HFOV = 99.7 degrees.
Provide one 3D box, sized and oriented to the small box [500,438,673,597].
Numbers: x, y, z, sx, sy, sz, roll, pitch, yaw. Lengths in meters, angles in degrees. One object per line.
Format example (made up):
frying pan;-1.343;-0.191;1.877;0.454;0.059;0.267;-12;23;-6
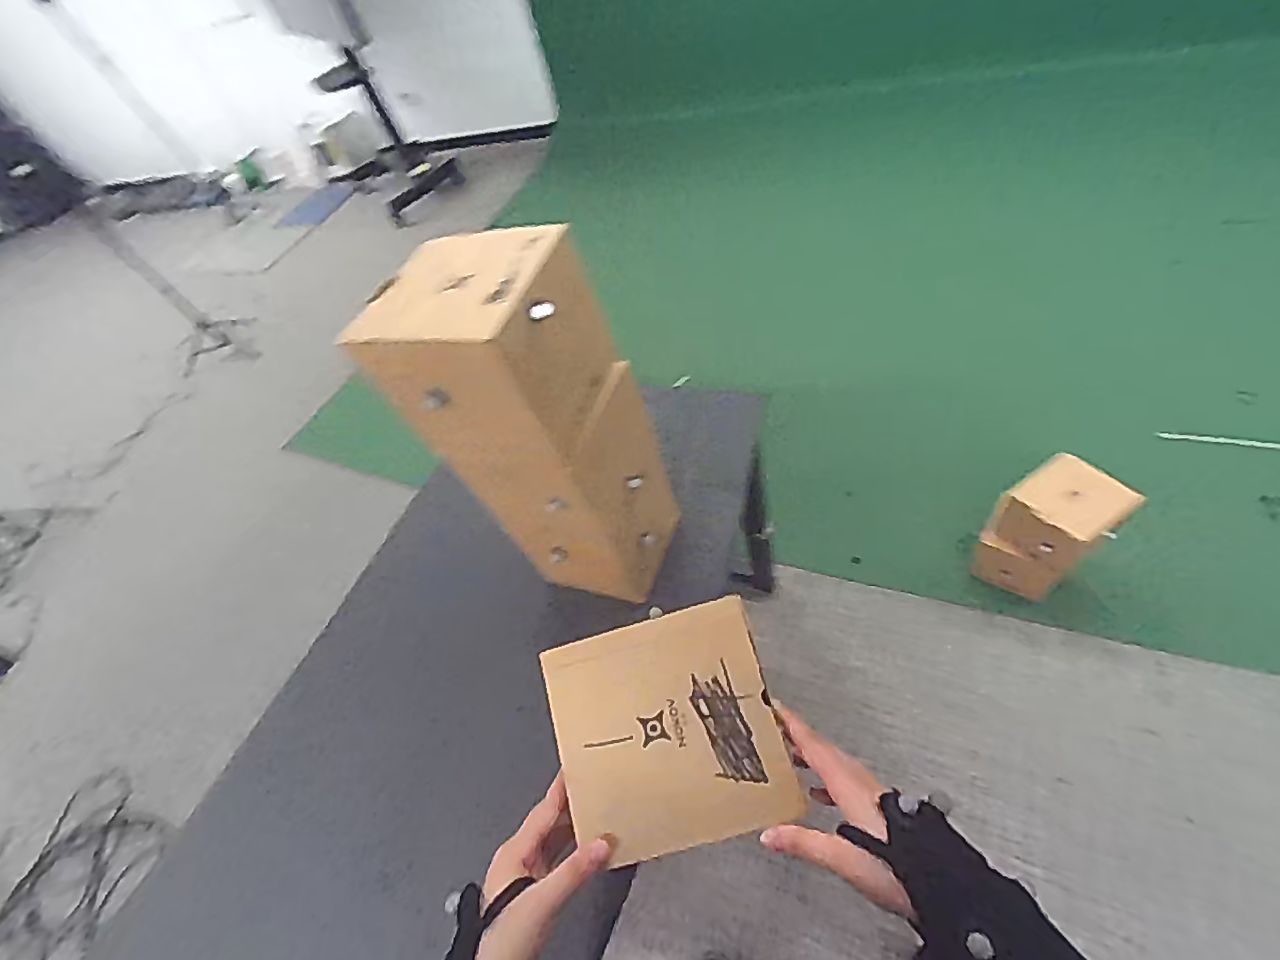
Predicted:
small box;-0.066;0.057;0.802;0.179;0.176;0.168;9;58;25

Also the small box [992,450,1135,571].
small box;0.928;0.074;1.210;0.179;0.176;0.168;-33;53;-9

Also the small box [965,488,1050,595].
small box;0.941;0.158;1.352;0.168;0.176;0.179;26;65;31

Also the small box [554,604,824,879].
small box;0.042;0.218;0.487;0.179;0.176;0.168;-16;70;5

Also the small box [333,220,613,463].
small box;-0.151;-0.132;0.548;0.179;0.176;0.168;5;57;23
